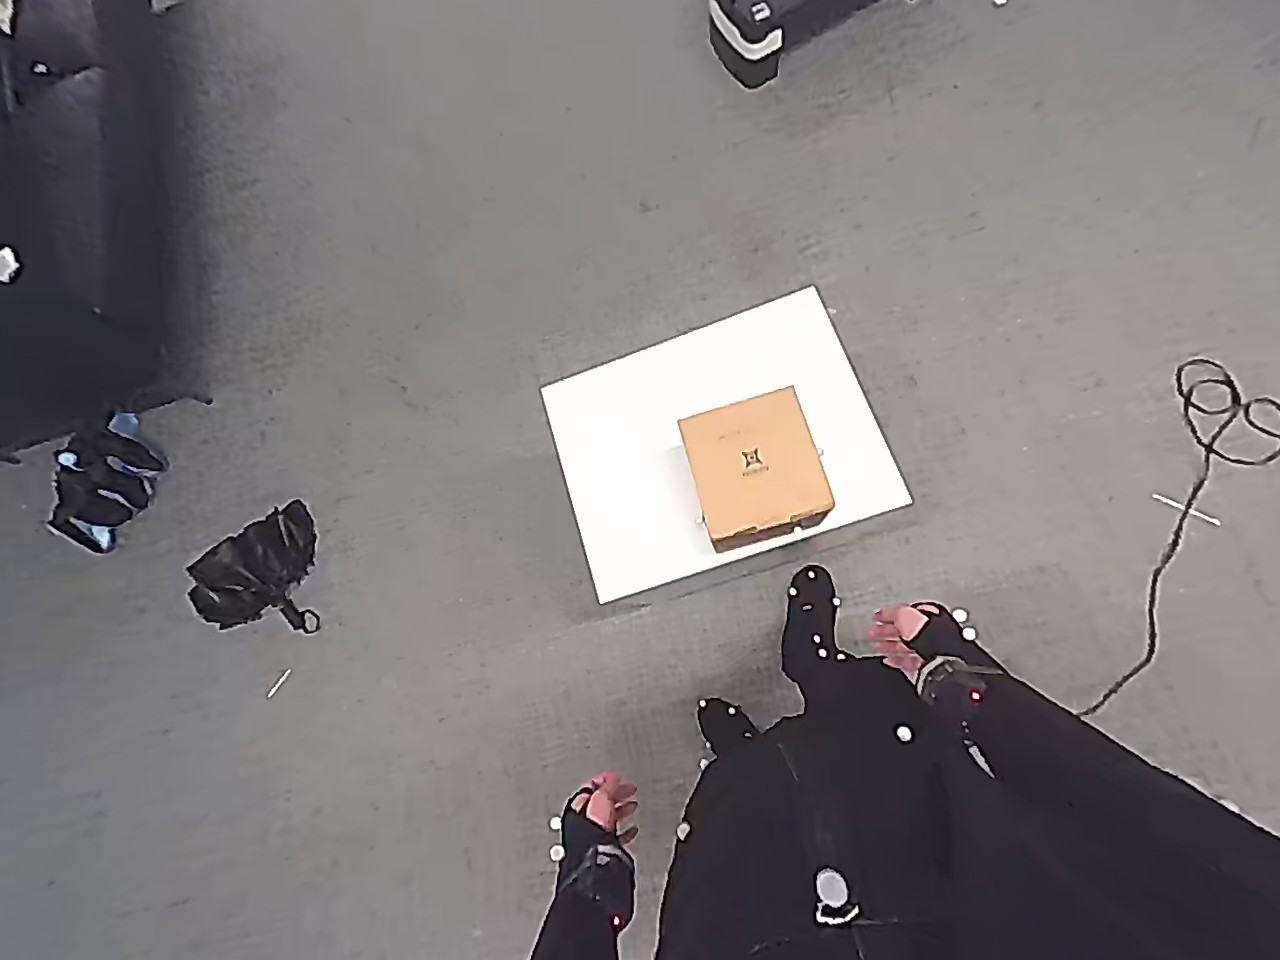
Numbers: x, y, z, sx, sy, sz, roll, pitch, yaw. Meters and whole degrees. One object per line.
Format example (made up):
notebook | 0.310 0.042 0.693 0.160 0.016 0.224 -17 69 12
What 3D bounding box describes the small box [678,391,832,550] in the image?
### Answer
small box | 0.164 -0.001 0.791 0.168 0.176 0.179 -16 73 6
